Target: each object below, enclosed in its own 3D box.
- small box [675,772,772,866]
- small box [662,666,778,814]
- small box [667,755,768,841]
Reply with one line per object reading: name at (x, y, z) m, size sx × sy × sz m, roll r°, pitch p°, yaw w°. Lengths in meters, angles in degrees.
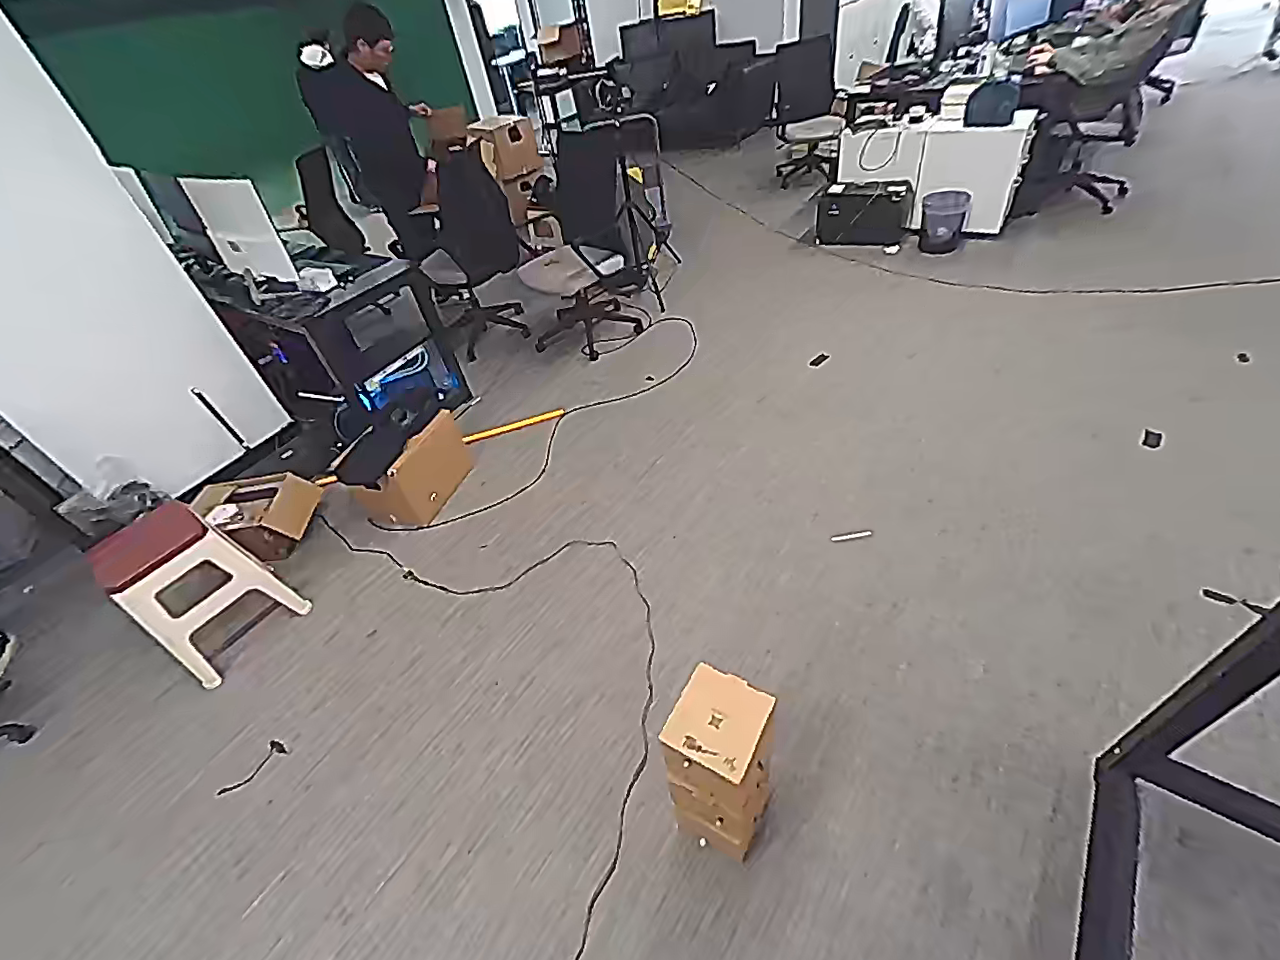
small box at (0.199, 0.760, 1.275) m, size 0.168 × 0.176 × 0.179 m, roll 17°, pitch 50°, yaw 28°
small box at (0.159, 0.511, 1.067) m, size 0.168 × 0.176 × 0.179 m, roll 17°, pitch 49°, yaw 28°
small box at (0.177, 0.638, 1.171) m, size 0.168 × 0.176 × 0.179 m, roll 15°, pitch 47°, yaw 25°
